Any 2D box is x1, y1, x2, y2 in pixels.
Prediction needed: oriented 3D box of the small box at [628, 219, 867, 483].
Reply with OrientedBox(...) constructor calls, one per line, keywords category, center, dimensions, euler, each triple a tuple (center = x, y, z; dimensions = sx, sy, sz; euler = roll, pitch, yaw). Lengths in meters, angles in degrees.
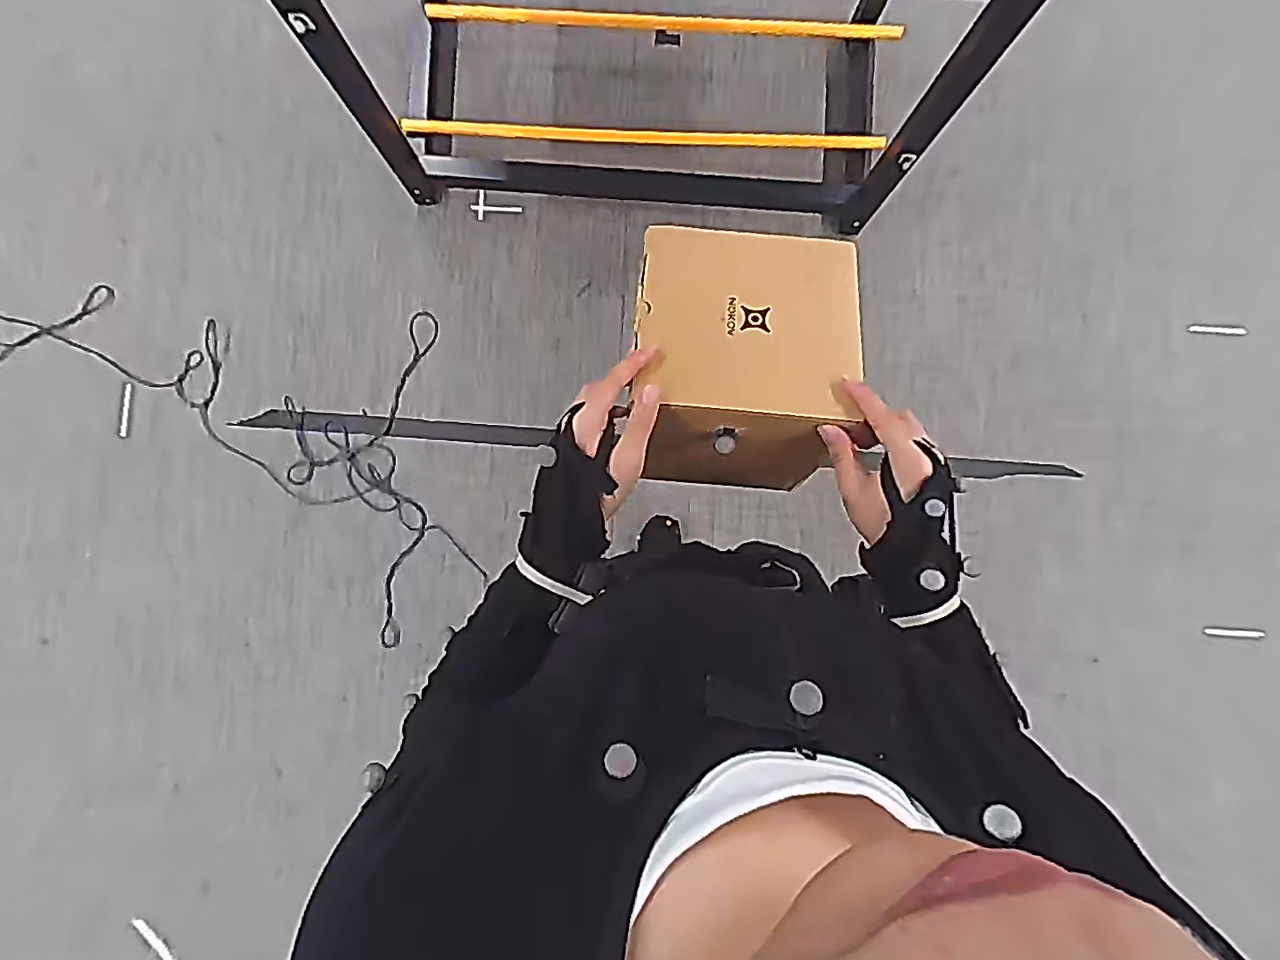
OrientedBox(category="small box", center=(0.083, -0.102, 0.491), dimensions=(0.179, 0.176, 0.168), euler=(5, 71, 0))
